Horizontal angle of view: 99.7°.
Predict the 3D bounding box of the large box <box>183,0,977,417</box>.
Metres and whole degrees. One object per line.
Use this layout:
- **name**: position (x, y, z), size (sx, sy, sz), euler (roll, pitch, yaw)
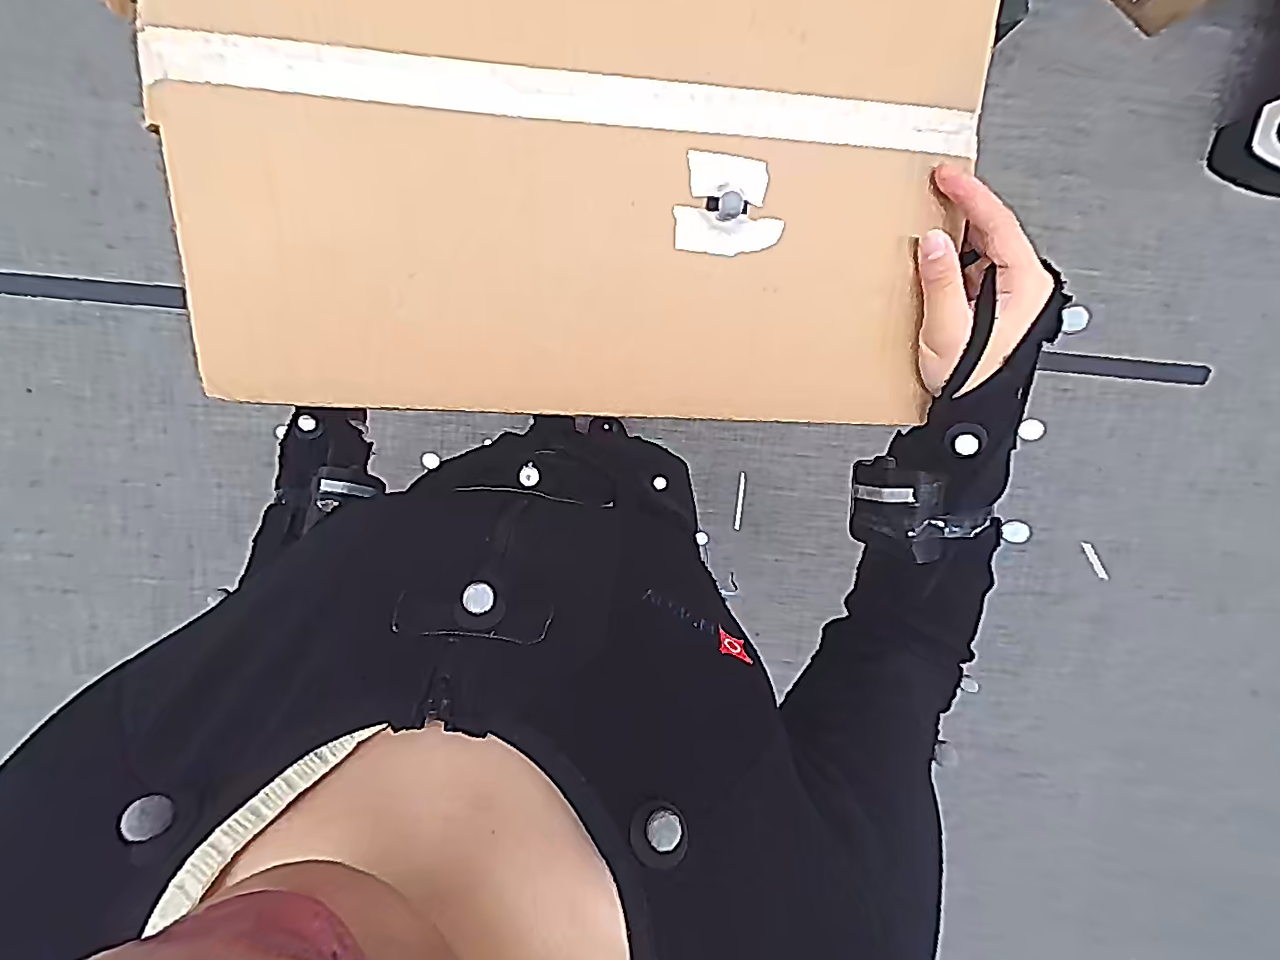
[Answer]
- **large box**: position (-0.038, -0.223, 0.427), size (0.408, 0.320, 0.320), euler (1, 104, -8)
